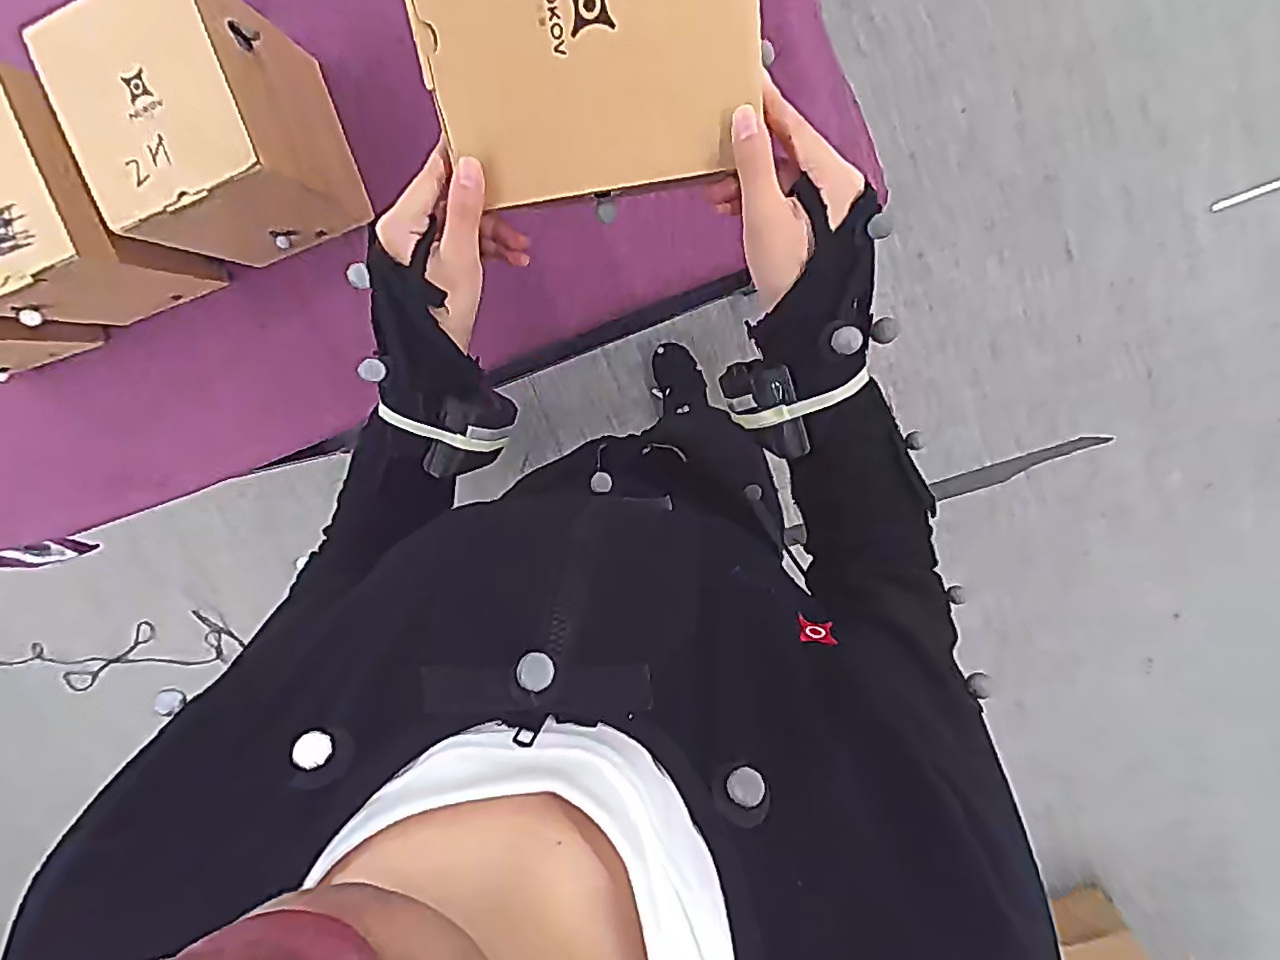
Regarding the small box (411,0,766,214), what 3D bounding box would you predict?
[{"bbox_3d":[-0.021,-0.271,0.339,0.179,0.176,0.168,-4,117,9],"label":"small box"}]
